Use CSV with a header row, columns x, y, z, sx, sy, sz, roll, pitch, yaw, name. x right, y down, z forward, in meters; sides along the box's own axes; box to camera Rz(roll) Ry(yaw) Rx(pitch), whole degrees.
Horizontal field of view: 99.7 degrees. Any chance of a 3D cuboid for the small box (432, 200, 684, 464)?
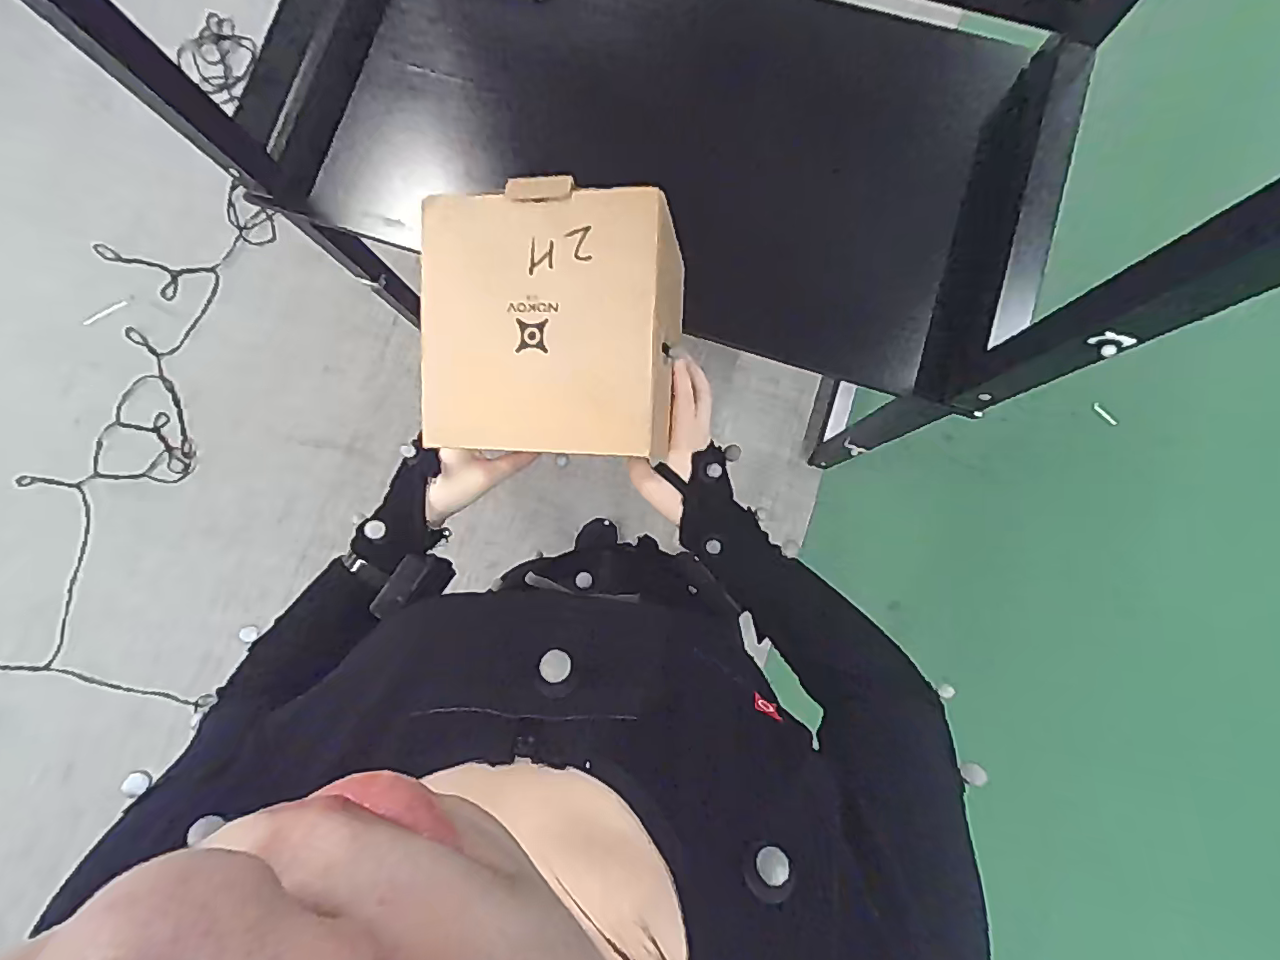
x,y,z,sx,sy,sz,roll,pitch,yaw,name
-0.053,-0.109,0.451,0.168,0.176,0.179,3,95,8,small box
